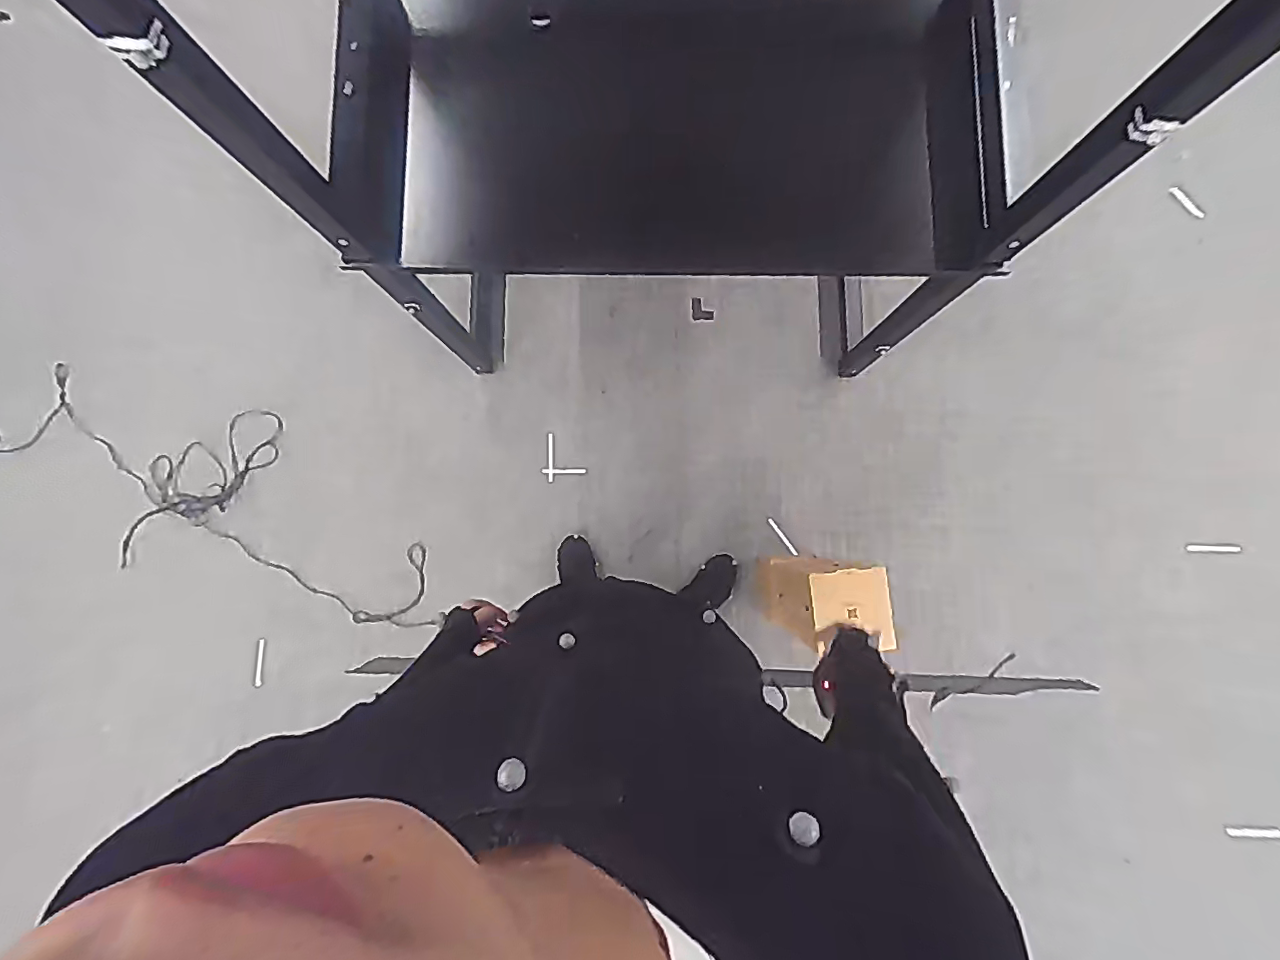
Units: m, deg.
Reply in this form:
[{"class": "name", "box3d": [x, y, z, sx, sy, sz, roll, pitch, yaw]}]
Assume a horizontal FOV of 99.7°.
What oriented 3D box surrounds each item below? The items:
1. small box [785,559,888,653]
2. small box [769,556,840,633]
[{"class": "small box", "box3d": [0.437, 0.278, 1.224, 0.168, 0.176, 0.179, -6, 85, 1]}, {"class": "small box", "box3d": [0.443, 0.287, 1.386, 0.179, 0.176, 0.168, -5, 86, 1]}]
